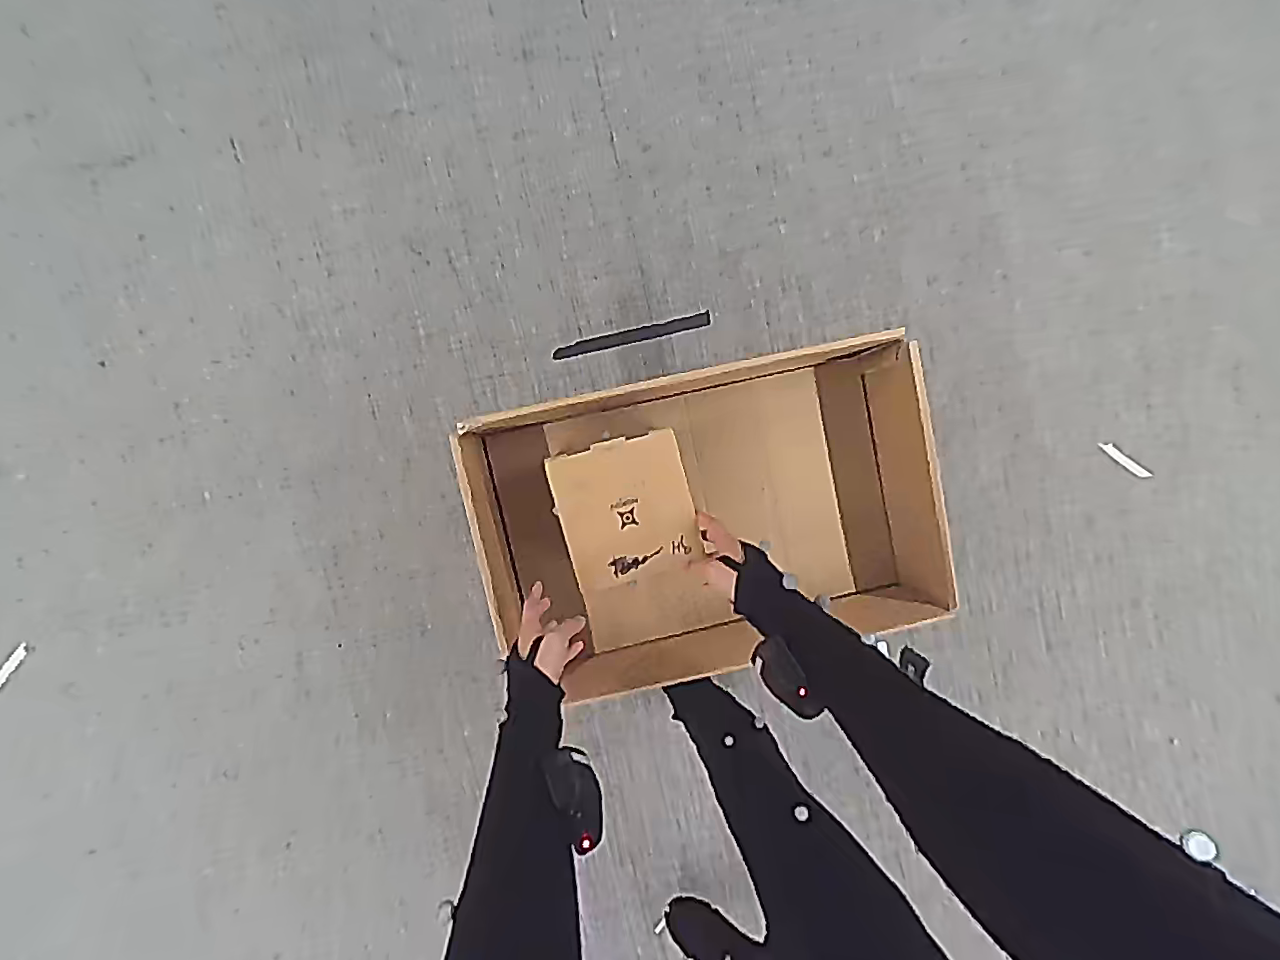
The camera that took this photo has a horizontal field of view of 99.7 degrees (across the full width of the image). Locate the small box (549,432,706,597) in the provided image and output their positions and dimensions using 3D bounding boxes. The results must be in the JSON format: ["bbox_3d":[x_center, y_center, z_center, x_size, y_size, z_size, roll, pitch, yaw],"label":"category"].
[{"bbox_3d":[-0.021,0.039,0.748,0.168,0.176,0.179,-15,95,-2],"label":"small box"}]
